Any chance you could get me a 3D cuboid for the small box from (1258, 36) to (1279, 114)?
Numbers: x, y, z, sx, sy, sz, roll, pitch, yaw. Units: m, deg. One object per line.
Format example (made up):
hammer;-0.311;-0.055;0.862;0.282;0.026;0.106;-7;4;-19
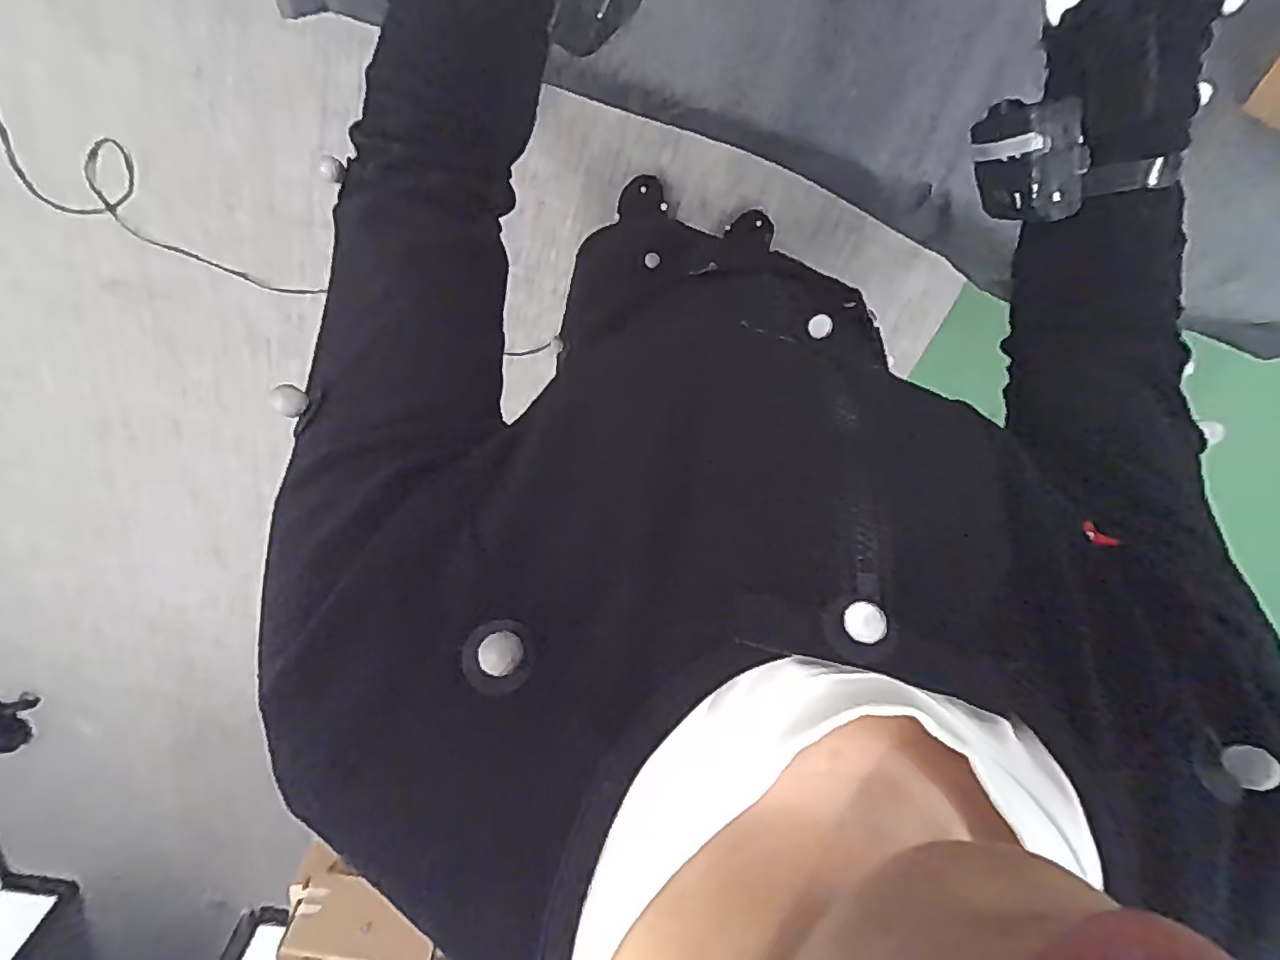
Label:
small box;0.693;-0.385;0.442;0.168;0.176;0.179;15;121;-10
